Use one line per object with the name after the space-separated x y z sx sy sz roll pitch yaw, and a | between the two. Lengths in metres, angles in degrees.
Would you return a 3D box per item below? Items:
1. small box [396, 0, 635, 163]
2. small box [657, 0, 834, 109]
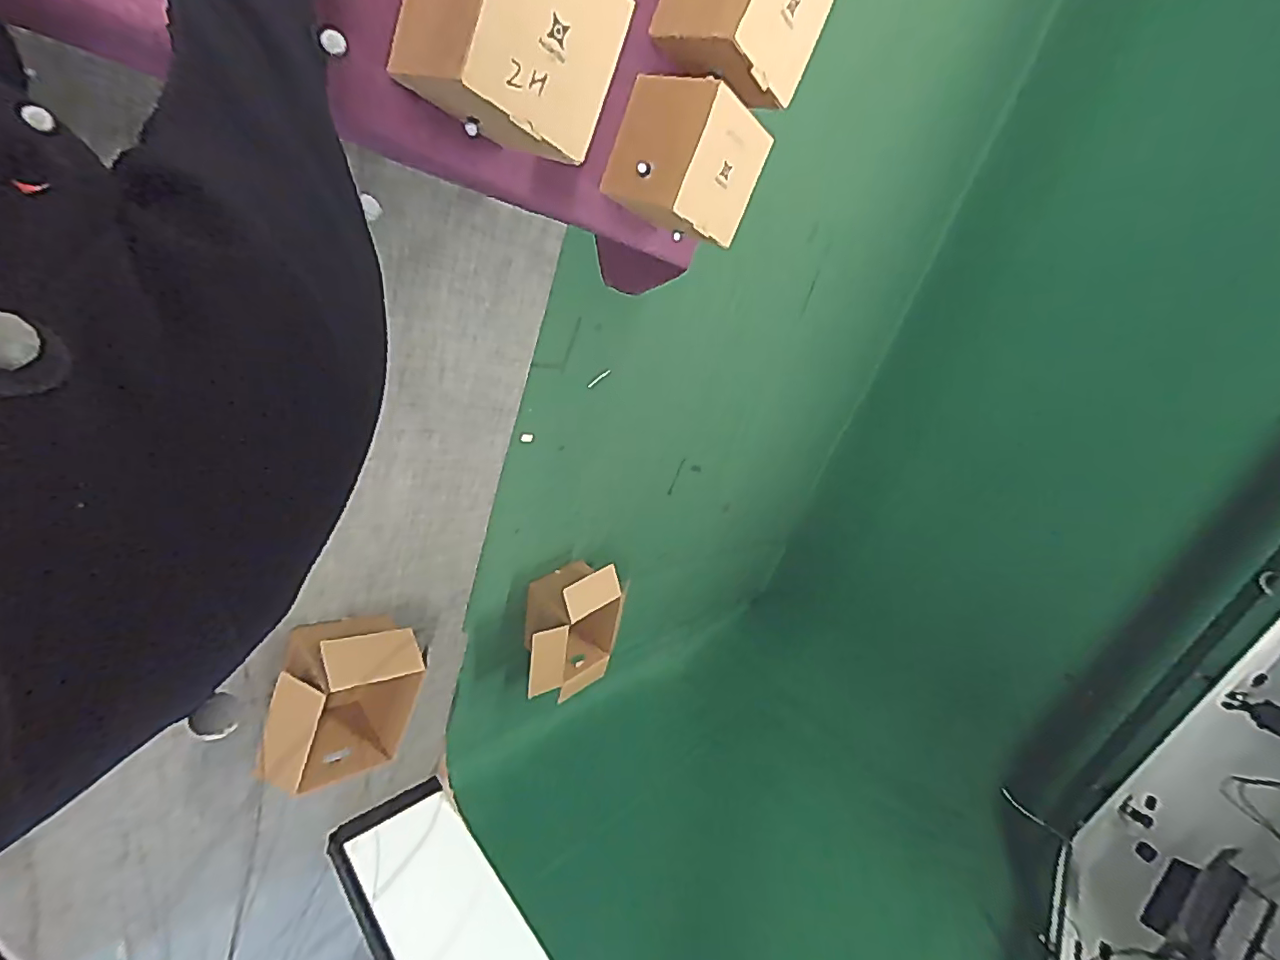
-0.141 -0.489 0.595 0.168 0.176 0.179 3 116 -52 | small box
0.149 -0.686 0.787 0.168 0.176 0.179 4 116 -53 | small box
